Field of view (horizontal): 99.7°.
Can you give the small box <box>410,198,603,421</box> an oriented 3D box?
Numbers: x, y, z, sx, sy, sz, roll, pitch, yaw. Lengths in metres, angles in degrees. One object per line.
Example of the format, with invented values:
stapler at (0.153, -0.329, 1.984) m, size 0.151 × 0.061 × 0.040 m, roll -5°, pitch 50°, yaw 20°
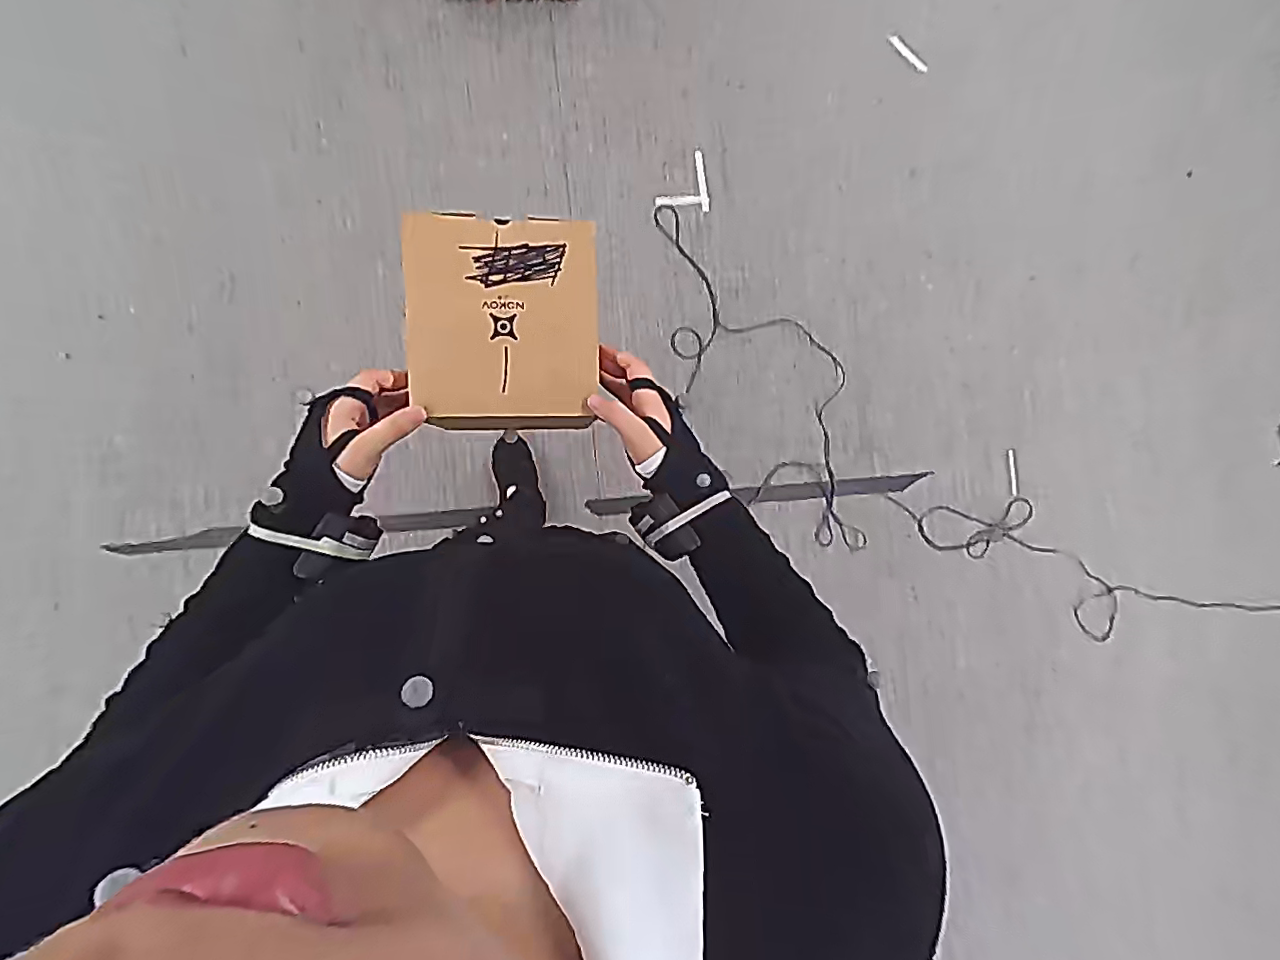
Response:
small box at (-0.128, -0.156, 0.552) m, size 0.168 × 0.176 × 0.179 m, roll -2°, pitch 92°, yaw -9°
